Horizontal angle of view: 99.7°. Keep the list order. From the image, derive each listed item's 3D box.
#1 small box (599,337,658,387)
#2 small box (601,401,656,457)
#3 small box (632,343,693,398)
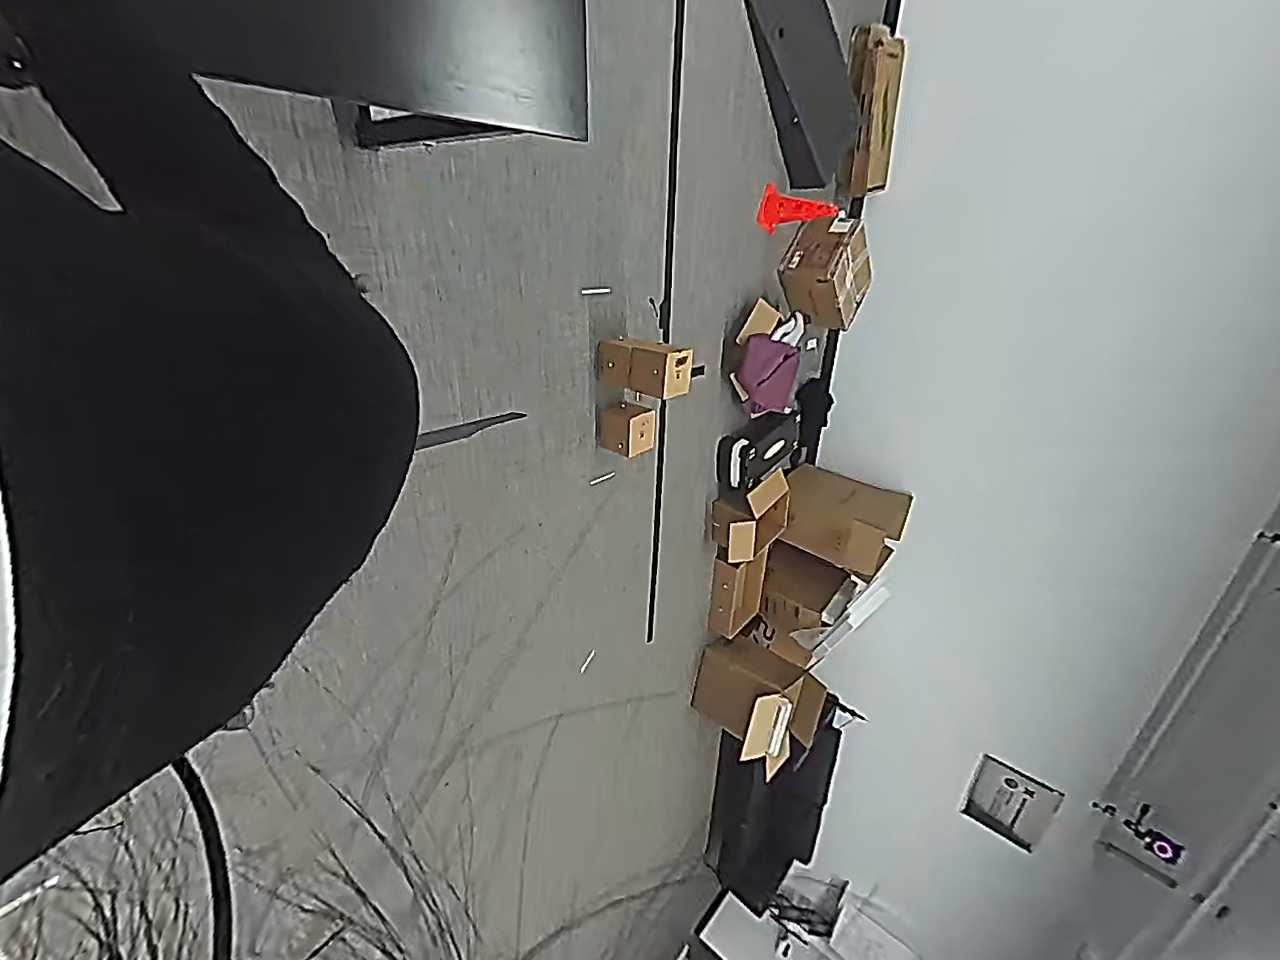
[{"bbox_3d":[-0.048,-0.478,2.174,0.179,0.176,0.168,-22,124,-45],"label":"small box"},{"bbox_3d":[-0.053,-0.222,2.303,0.168,0.176,0.179,-26,127,-44],"label":"small box"},{"bbox_3d":[0.083,-0.428,2.084,0.168,0.176,0.179,-23,126,-46],"label":"small box"}]
